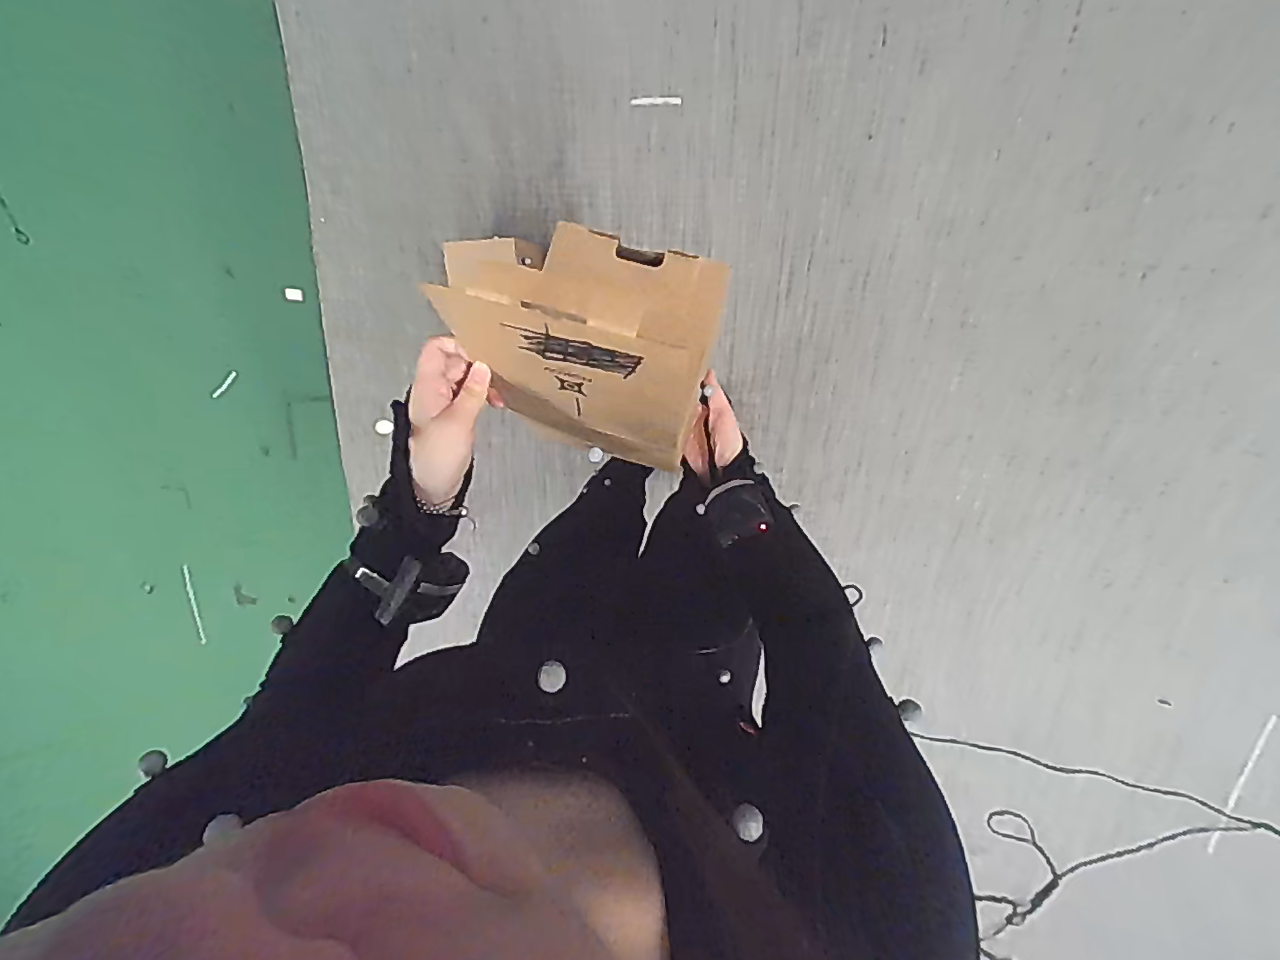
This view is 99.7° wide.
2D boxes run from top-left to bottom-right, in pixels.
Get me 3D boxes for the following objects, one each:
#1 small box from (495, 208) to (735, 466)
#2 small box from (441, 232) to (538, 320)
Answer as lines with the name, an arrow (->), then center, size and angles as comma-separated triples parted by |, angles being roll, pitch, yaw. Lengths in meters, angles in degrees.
small box -> -0.017, -0.124, 0.535 | 0.168, 0.176, 0.179 | 17, 87, 6
small box -> -0.332, -0.461, 1.241 | 0.168, 0.176, 0.179 | 1, 108, 9
